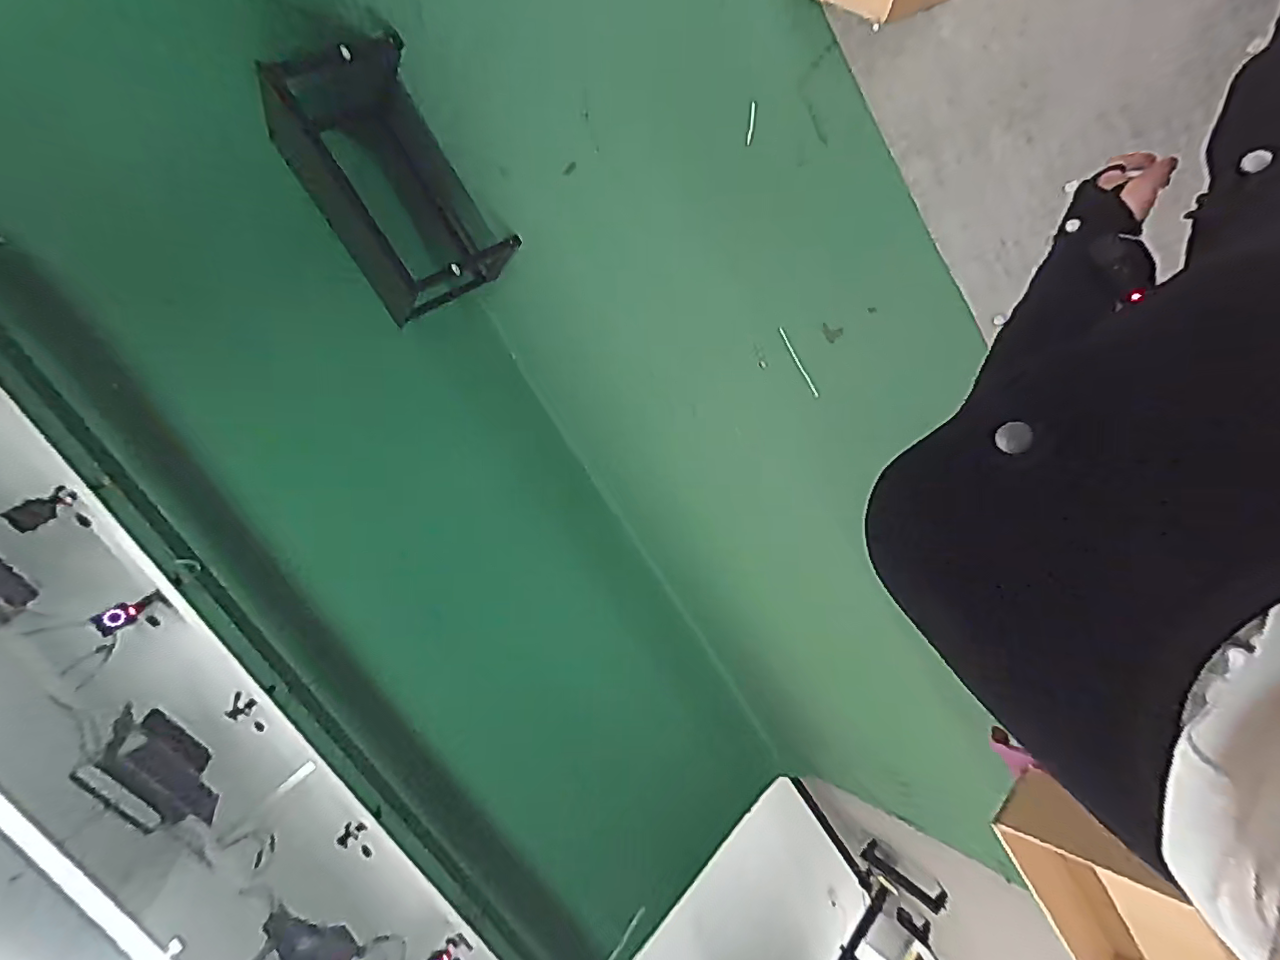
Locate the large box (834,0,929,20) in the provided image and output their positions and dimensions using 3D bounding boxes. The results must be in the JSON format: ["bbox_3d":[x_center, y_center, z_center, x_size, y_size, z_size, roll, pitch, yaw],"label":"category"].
[{"bbox_3d":[0.500,-1.195,1.014,0.320,0.320,0.408,43,155,21],"label":"large box"}]
